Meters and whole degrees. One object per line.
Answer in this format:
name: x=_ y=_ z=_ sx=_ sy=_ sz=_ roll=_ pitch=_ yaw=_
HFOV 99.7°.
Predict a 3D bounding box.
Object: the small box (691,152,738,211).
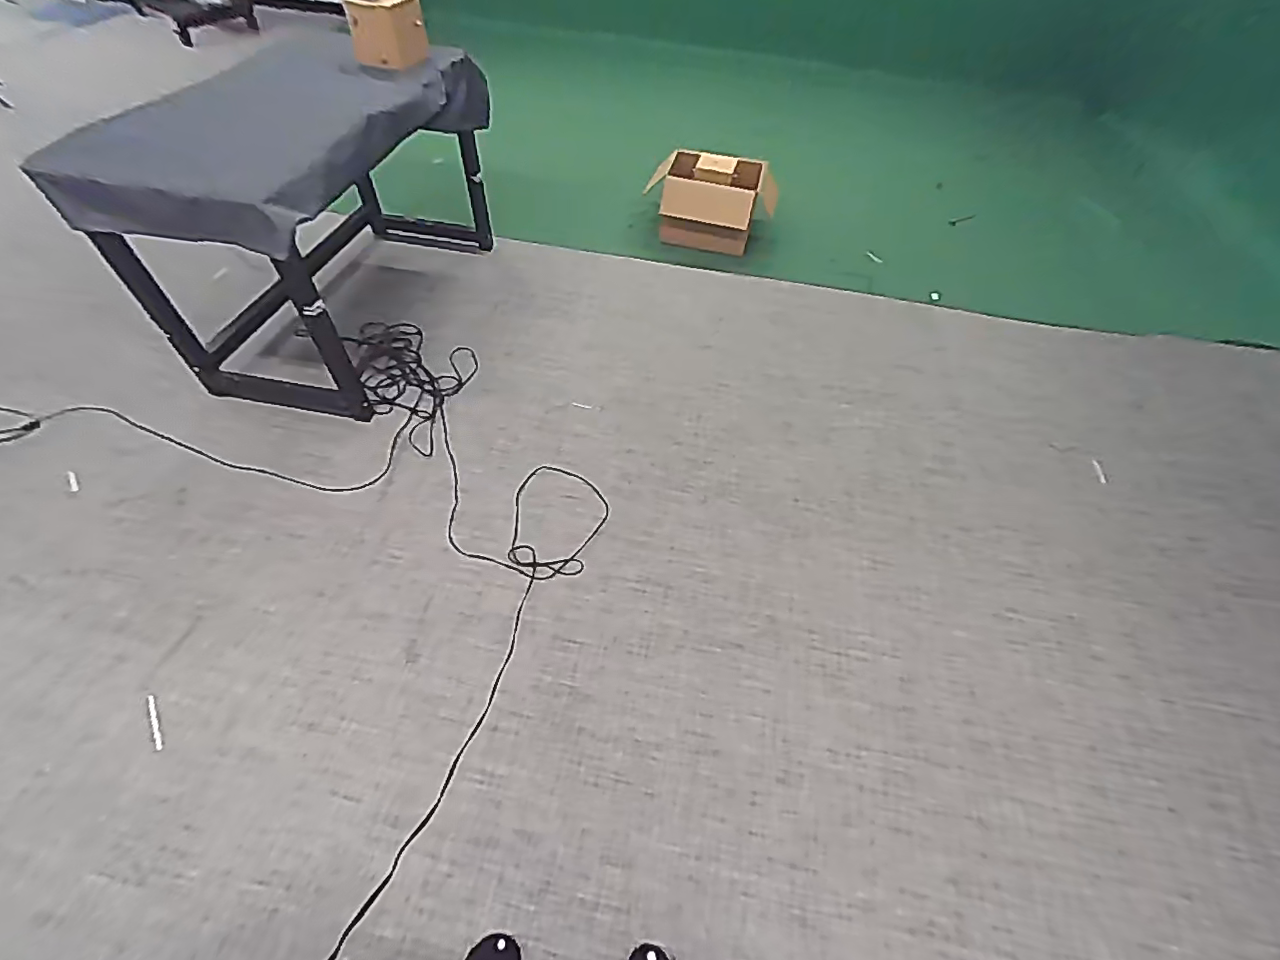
small box: x=0.334 y=-1.350 z=2.448 sx=0.168 sy=0.176 sz=0.179 roll=14 pitch=52 yaw=6
